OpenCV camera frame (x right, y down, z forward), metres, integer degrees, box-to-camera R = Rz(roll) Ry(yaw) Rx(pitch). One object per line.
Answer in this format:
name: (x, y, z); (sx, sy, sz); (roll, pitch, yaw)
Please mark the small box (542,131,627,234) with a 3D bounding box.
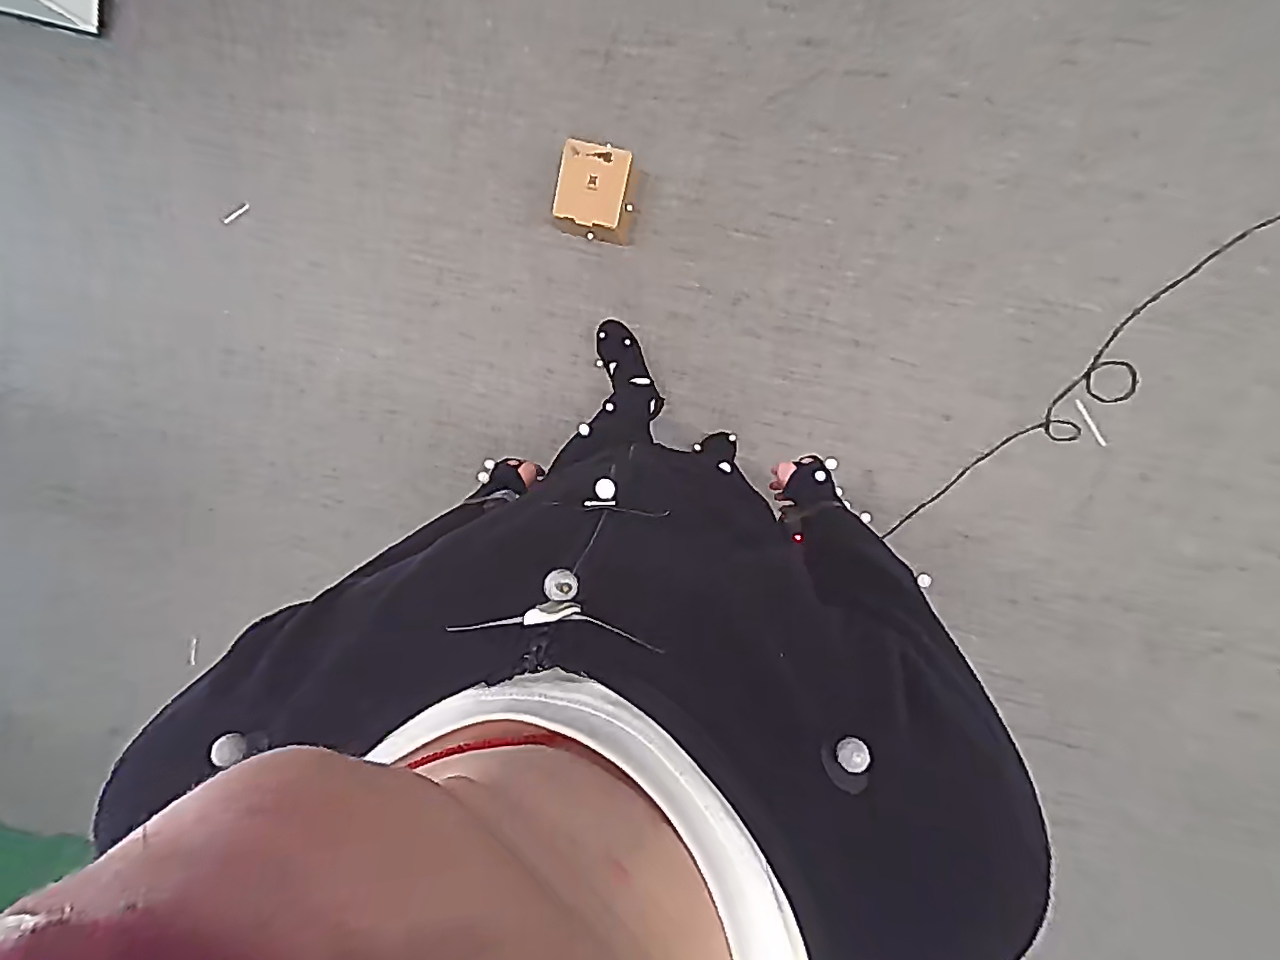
small box: (-0.135, -0.741, 1.368); (0.168, 0.176, 0.179); (12, 101, 4)
